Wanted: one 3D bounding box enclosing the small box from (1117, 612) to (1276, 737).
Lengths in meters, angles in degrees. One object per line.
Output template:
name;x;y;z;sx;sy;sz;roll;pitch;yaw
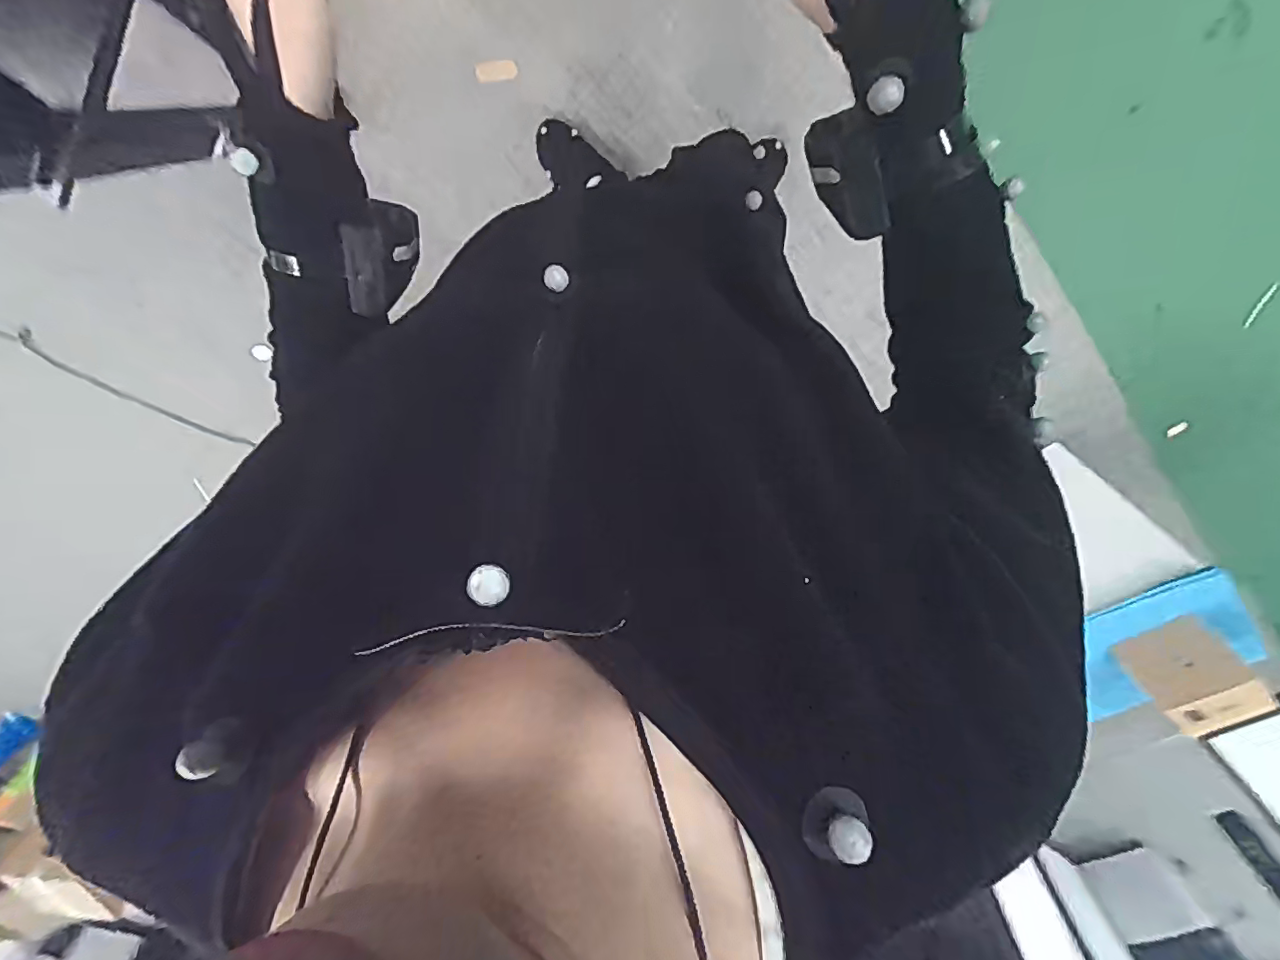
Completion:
small box;1.223;0.432;1.206;0.168;0.176;0.179;39;116;-25
